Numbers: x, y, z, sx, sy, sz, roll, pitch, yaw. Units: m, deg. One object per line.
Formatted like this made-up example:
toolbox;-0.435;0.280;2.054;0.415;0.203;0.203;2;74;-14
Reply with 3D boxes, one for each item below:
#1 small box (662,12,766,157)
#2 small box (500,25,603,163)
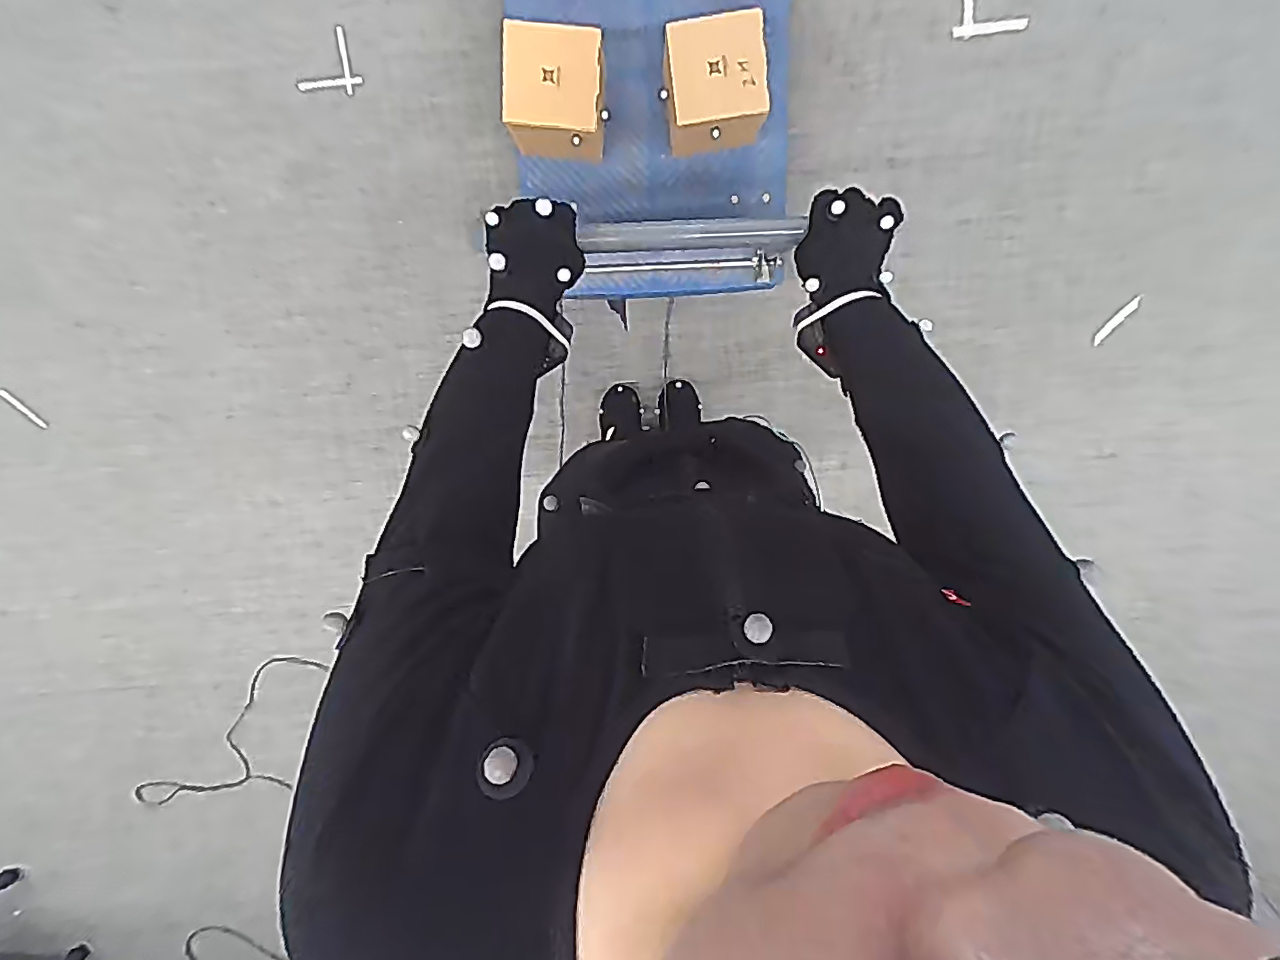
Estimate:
small box;0.137;-0.755;1.053;0.179;0.176;0.168;-8;103;2
small box;-0.167;-0.740;1.056;0.179;0.176;0.168;3;103;-2
